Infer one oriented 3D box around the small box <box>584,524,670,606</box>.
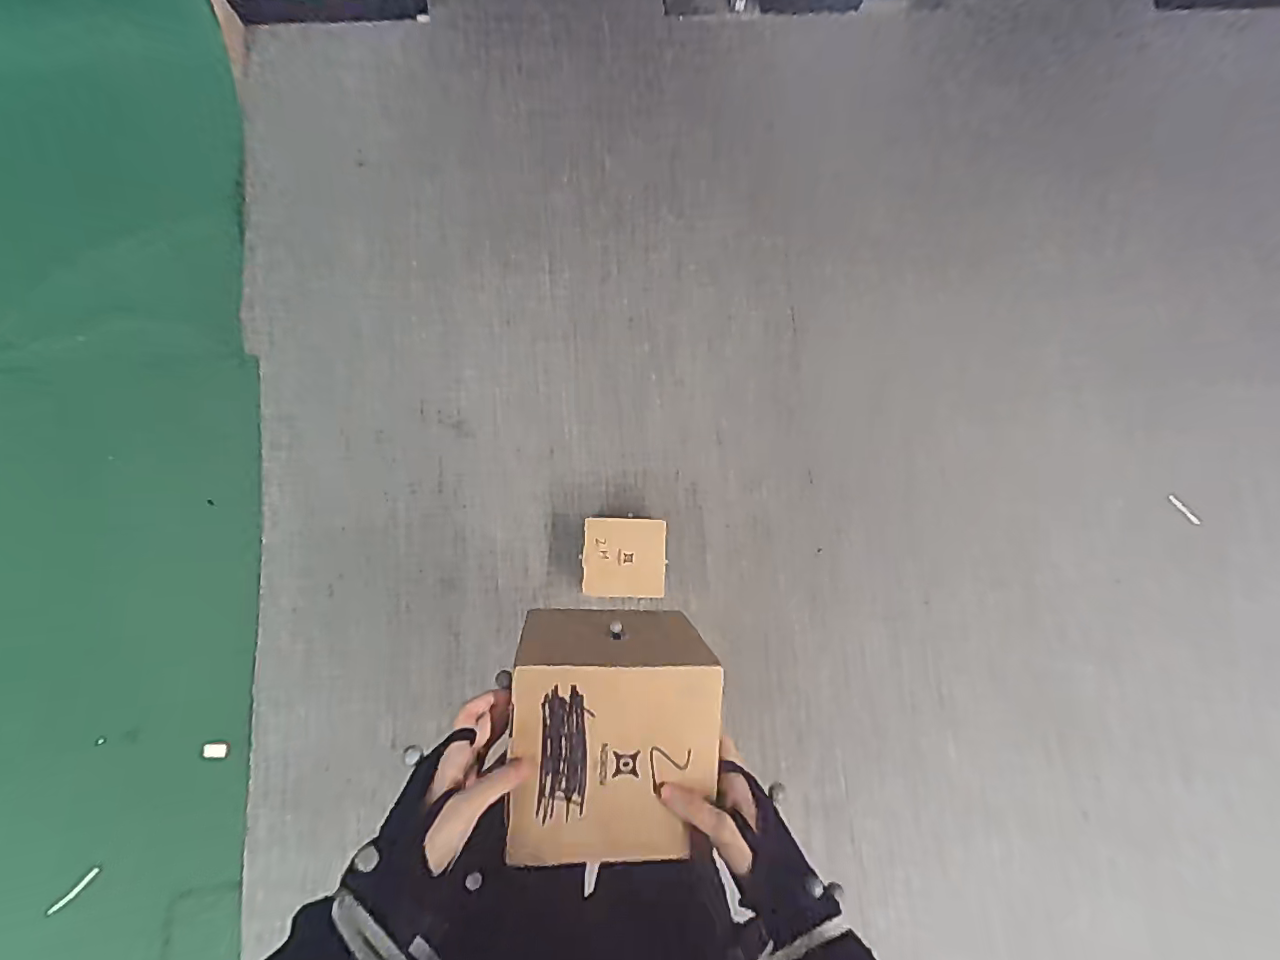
[{"bbox_3d":[-0.030,0.187,1.209,0.179,0.176,0.168,2,82,-2],"label":"small box"}]
